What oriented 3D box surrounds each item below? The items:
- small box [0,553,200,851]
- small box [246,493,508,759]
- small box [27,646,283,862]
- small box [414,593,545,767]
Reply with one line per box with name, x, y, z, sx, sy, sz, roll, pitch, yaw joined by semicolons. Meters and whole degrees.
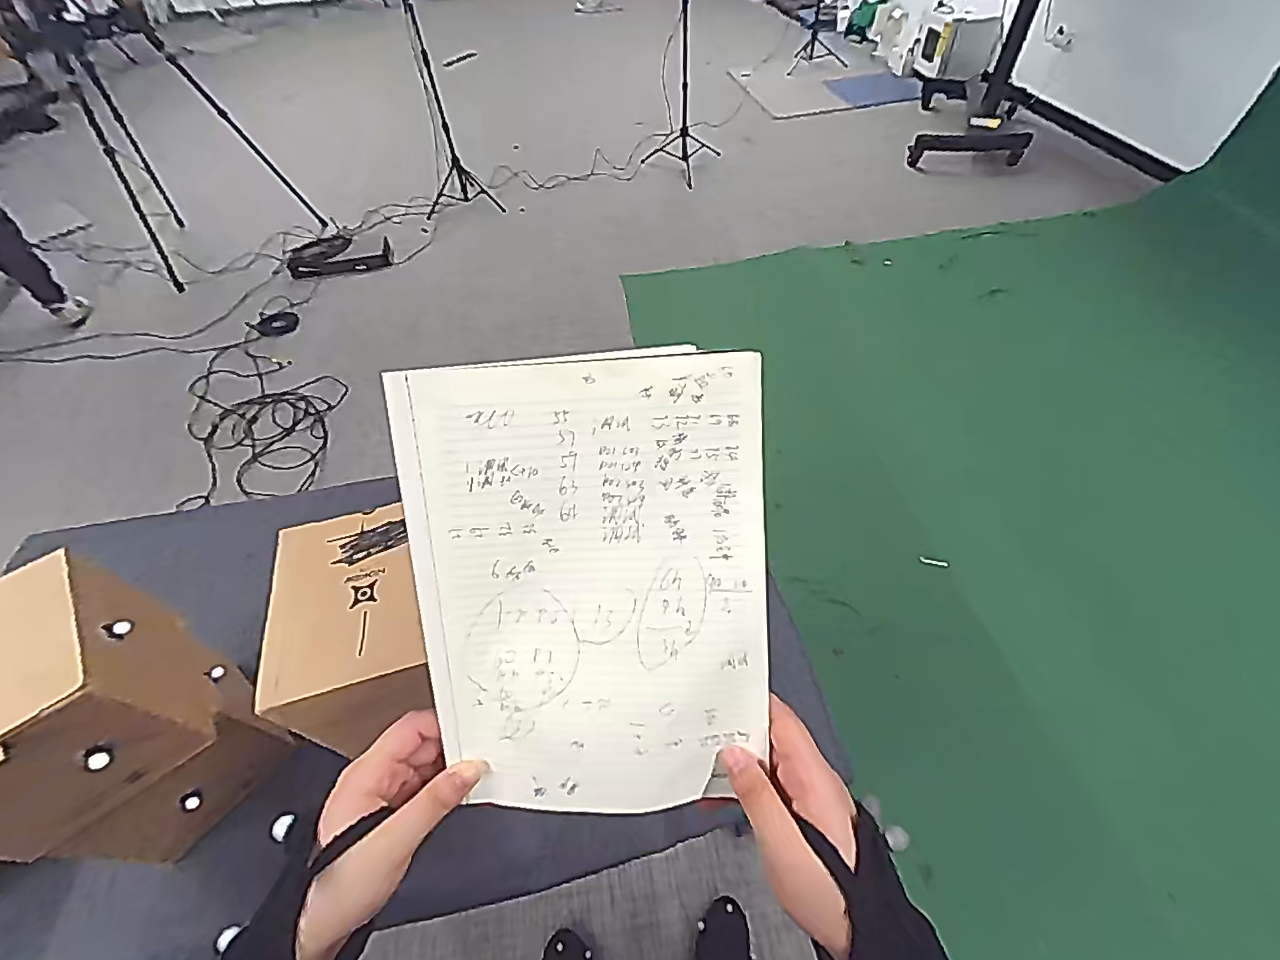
small box;-0.558;0.209;0.500;0.168;0.176;0.179;-33;57;-23
small box;-0.238;0.145;0.532;0.168;0.176;0.179;-15;52;-7
small box;-0.569;0.307;0.631;0.179;0.176;0.168;31;59;24
small box;-0.235;0.235;0.670;0.179;0.176;0.168;12;53;14
